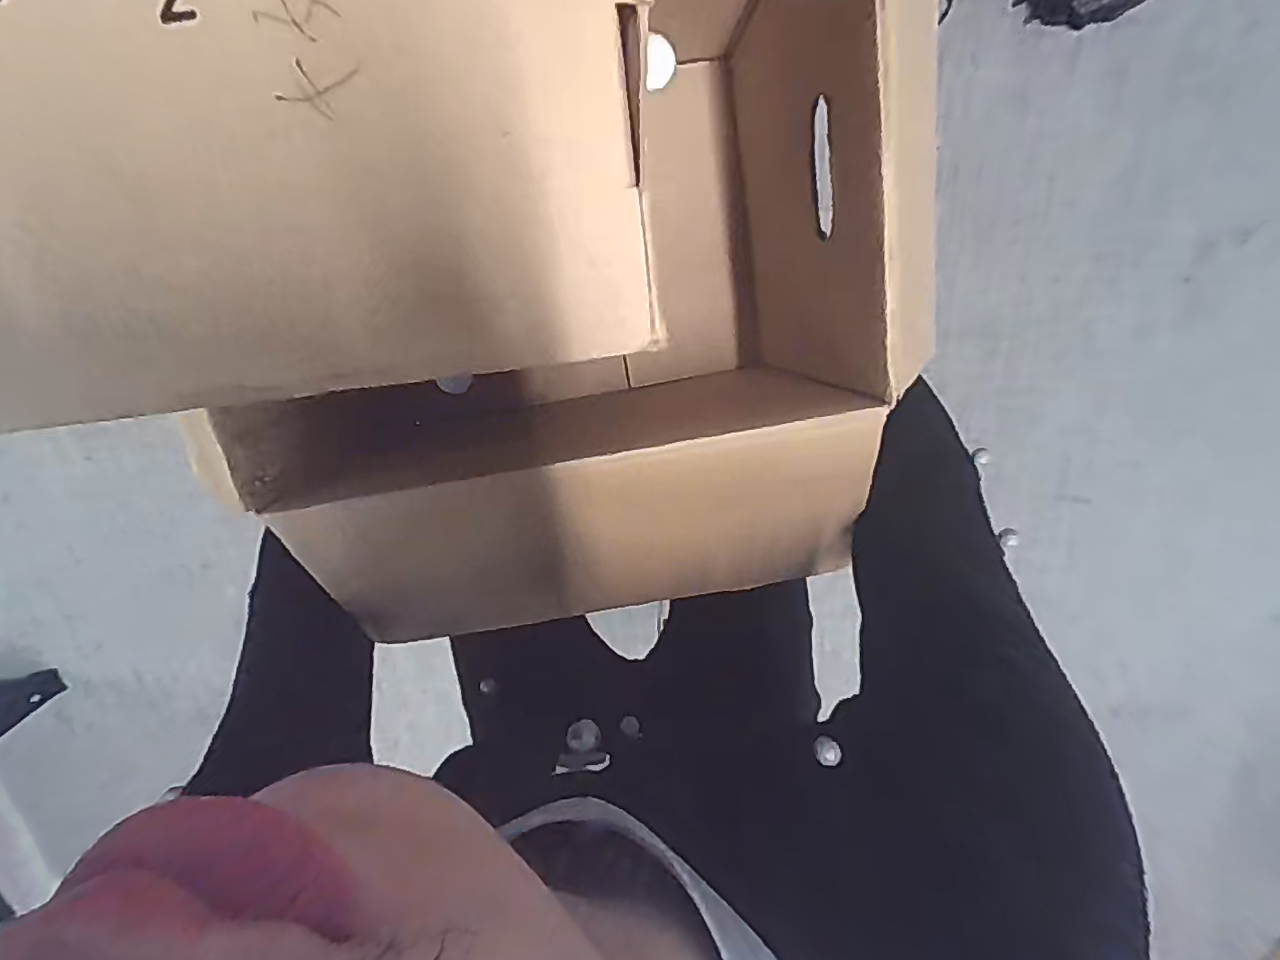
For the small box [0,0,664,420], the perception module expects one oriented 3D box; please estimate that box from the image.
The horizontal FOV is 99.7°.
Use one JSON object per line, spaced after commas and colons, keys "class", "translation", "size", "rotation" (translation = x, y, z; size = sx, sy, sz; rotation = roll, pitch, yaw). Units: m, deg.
{"class": "small box", "translation": [-0.093, -0.118, 0.149], "size": [0.179, 0.176, 0.168], "rotation": [-7, 108, 0]}
